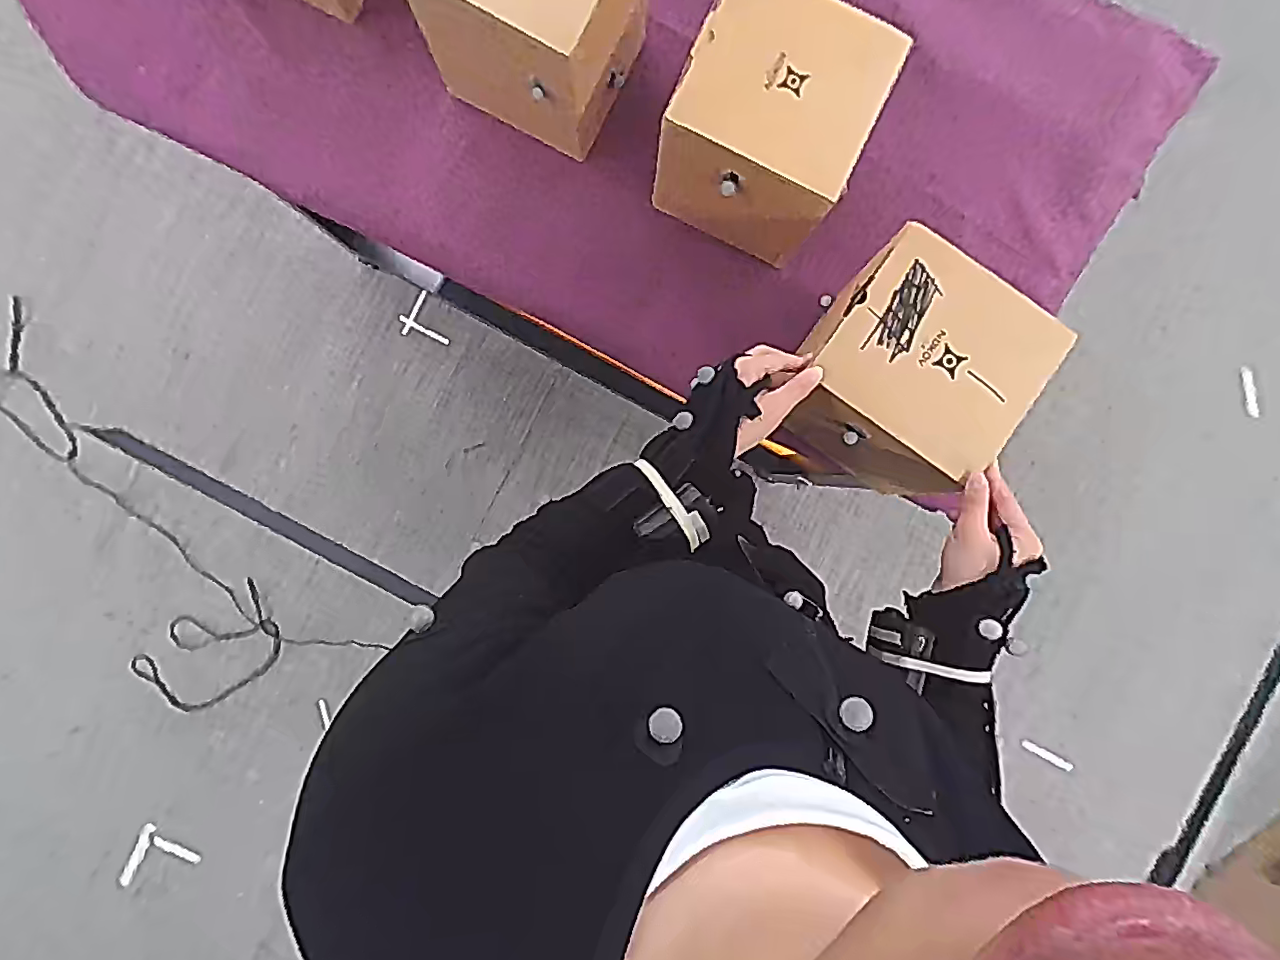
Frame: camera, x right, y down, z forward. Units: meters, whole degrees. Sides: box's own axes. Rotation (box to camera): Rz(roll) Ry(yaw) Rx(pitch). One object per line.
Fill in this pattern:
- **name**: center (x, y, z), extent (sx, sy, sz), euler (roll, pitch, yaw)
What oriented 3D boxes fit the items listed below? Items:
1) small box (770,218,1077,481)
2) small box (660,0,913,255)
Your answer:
- **small box**: center (0.257, -0.109, 0.540), extent (0.179, 0.176, 0.168), euler (36, 88, 0)
- **small box**: center (0.134, -0.365, 0.567), extent (0.179, 0.176, 0.168), euler (26, 90, -2)
